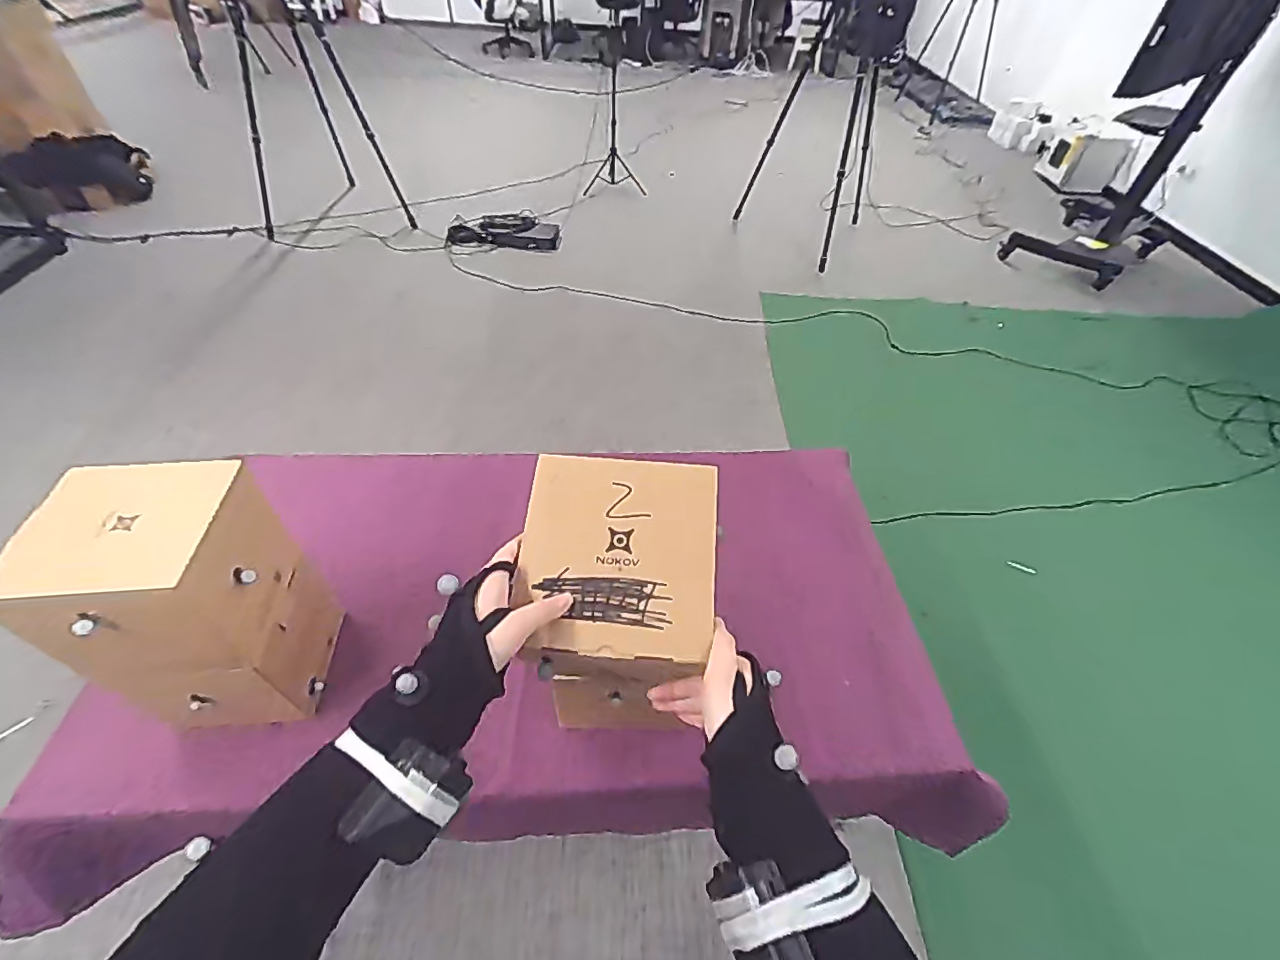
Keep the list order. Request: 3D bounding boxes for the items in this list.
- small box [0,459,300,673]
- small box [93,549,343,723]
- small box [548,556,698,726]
[{"bbox_3d":[-0.514,0.096,0.593,0.179,0.176,0.168,-4,48,-5],"label":"small box"},{"bbox_3d":[-0.526,0.205,0.713,0.179,0.176,0.168,-3,48,-5],"label":"small box"},{"bbox_3d":[-0.019,0.220,0.729,0.179,0.176,0.168,3,49,-1],"label":"small box"}]
